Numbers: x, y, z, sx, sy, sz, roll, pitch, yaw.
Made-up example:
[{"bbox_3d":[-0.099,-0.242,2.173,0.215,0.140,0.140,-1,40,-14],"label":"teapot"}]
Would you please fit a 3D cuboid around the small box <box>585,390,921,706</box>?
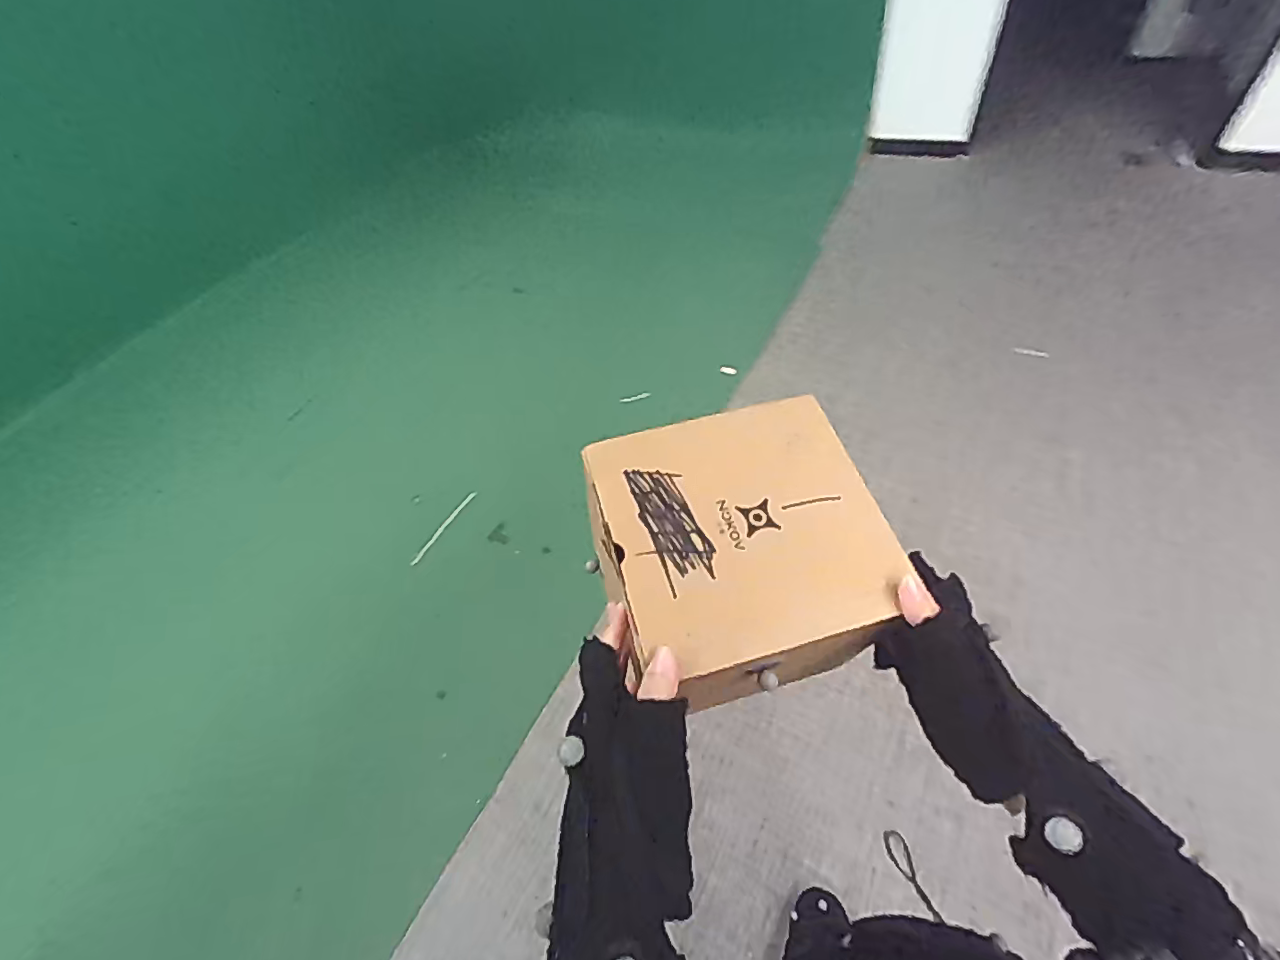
[{"bbox_3d":[0.065,0.060,0.414,0.179,0.176,0.168,-12,61,-7],"label":"small box"}]
